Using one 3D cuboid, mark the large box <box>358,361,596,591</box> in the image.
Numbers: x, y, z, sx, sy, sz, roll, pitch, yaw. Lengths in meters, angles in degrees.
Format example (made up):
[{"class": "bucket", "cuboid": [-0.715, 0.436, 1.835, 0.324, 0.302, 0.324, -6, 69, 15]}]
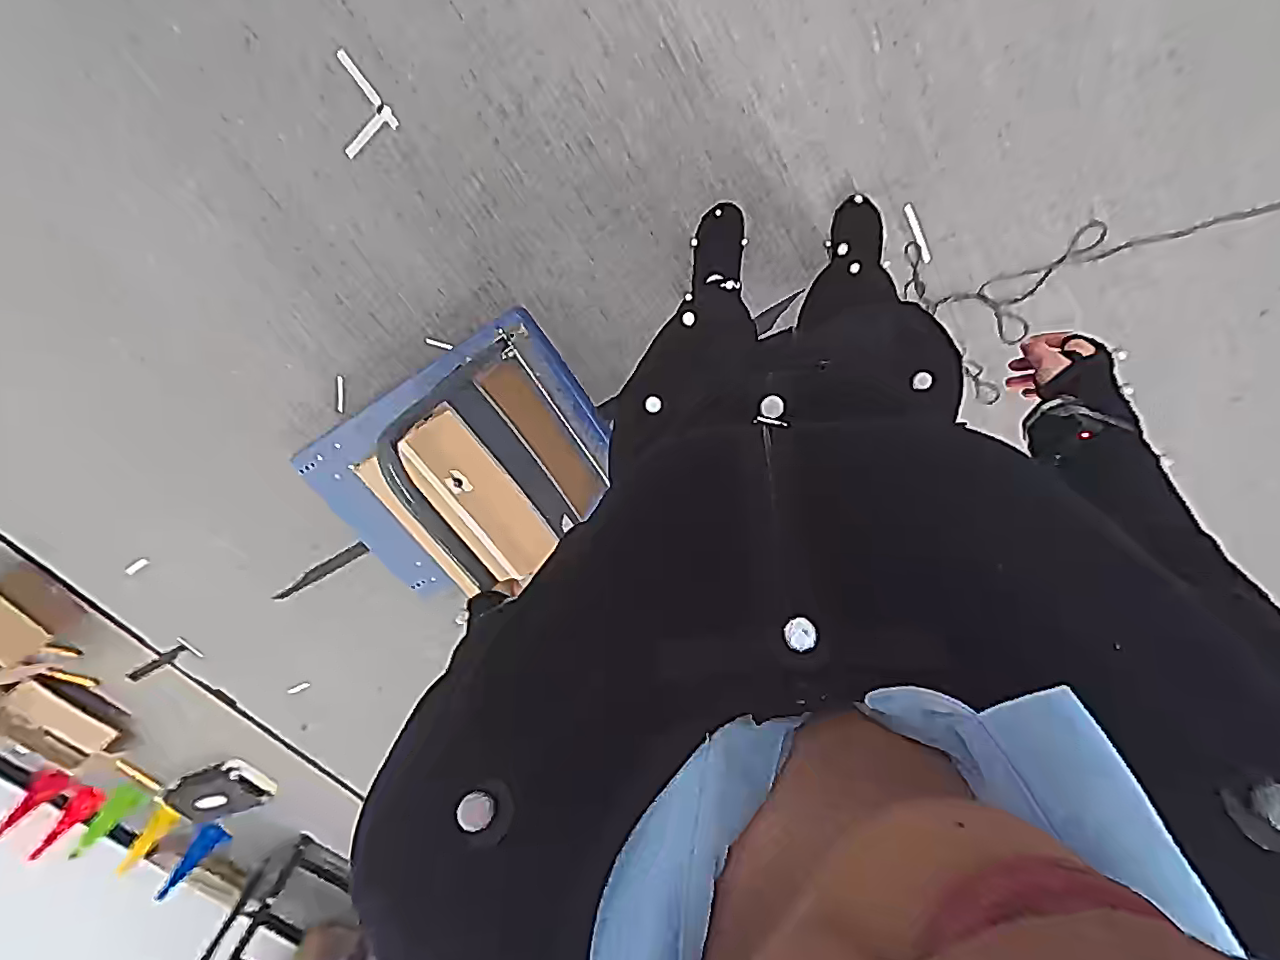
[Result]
[{"class": "large box", "cuboid": [-0.362, -0.010, 1.315, 0.320, 0.320, 0.408, -25, 112, 20]}]
